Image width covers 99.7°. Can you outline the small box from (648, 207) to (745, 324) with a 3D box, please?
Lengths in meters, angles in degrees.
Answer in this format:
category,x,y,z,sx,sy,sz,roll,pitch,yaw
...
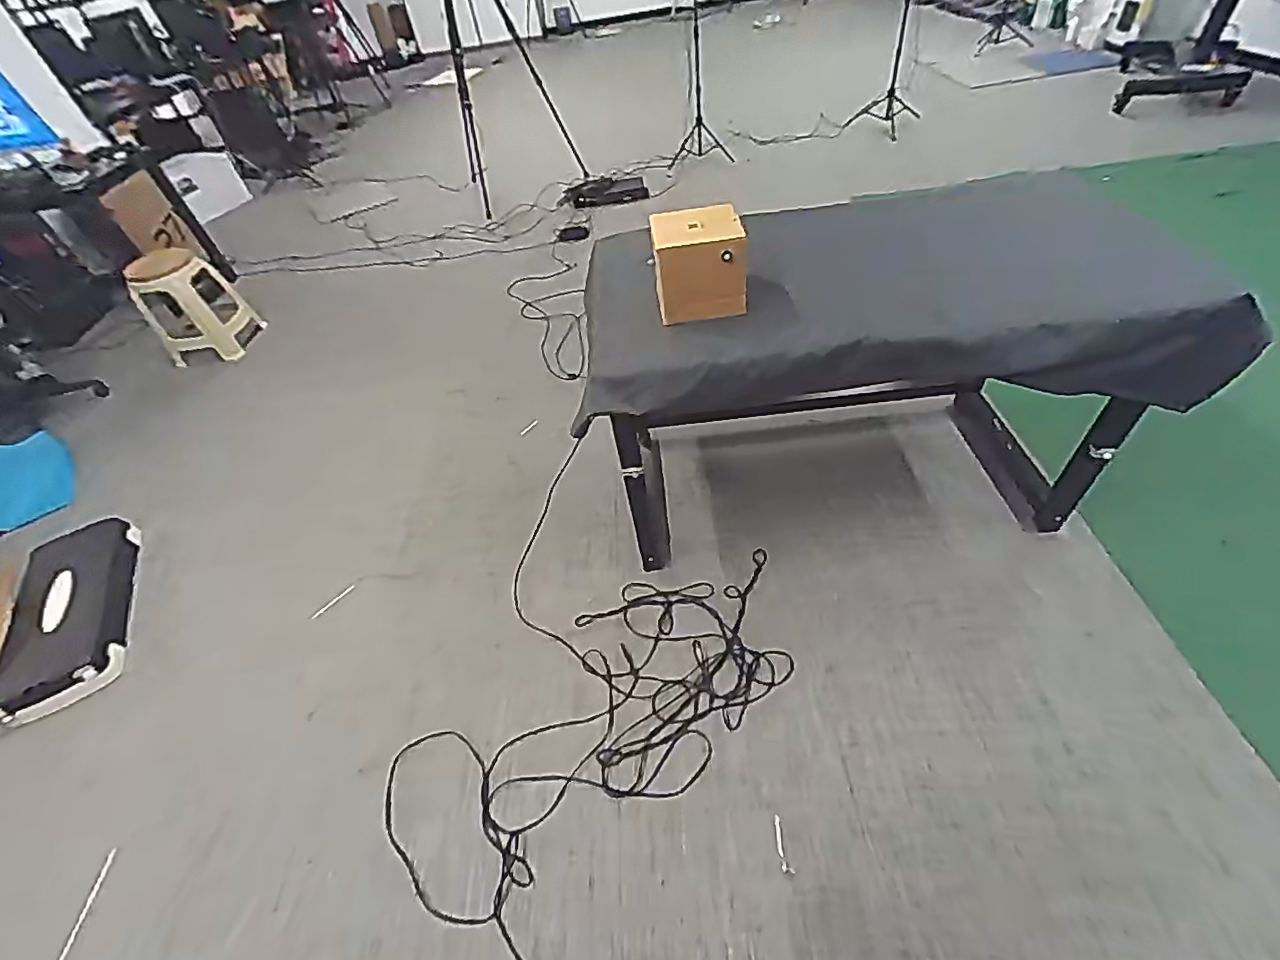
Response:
category,x,y,z,sx,sy,sz,roll,pitch,yaw
small box,0.118,-0.443,1.130,0.179,0.176,0.168,-7,47,2
